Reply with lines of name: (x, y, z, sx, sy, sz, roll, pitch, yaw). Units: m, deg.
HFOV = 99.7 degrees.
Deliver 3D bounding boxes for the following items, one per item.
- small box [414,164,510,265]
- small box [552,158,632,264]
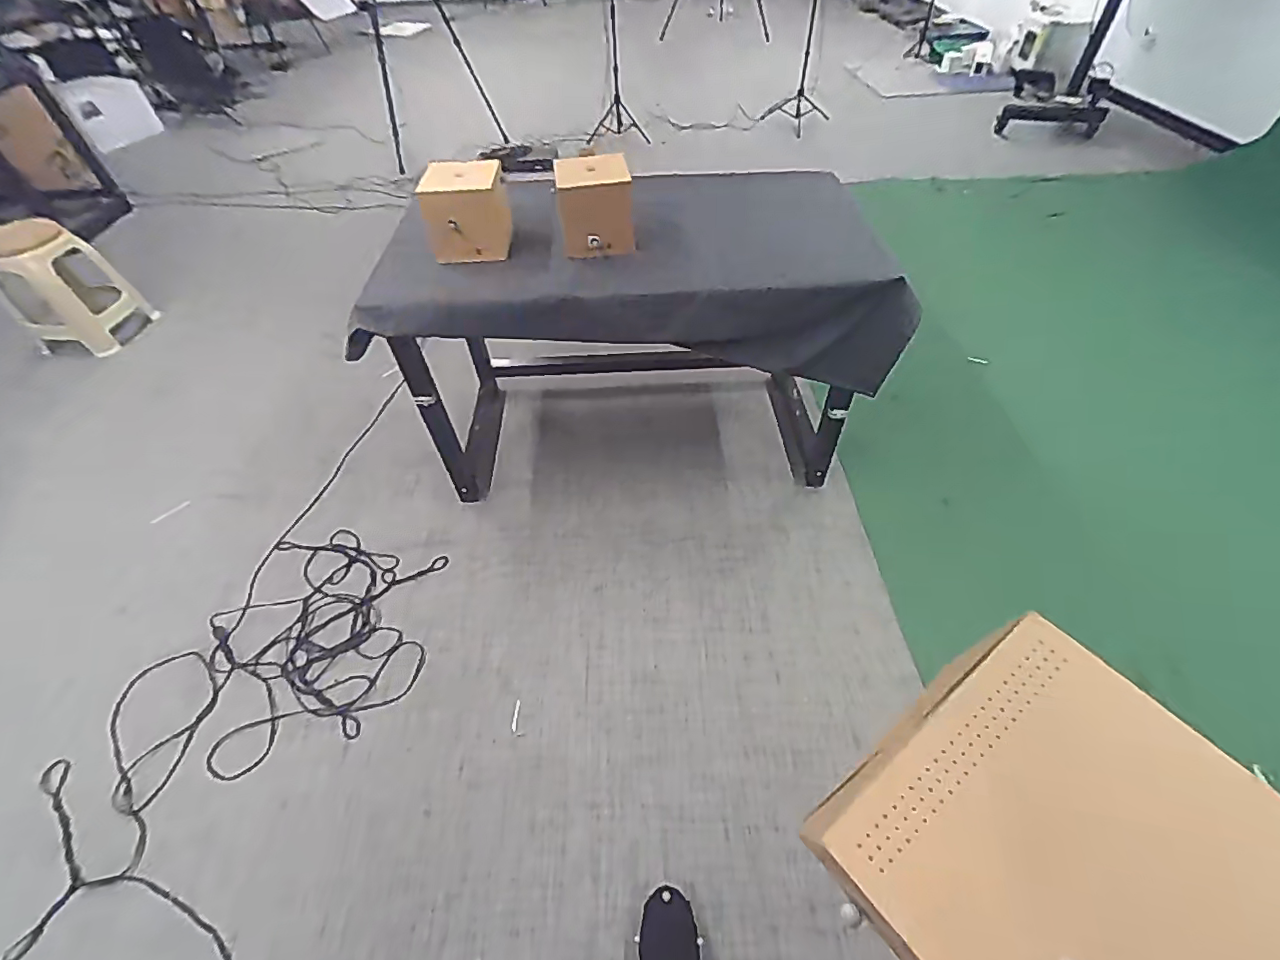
small box: (-0.413, -0.625, 1.287, 0.168, 0.176, 0.179, -4, 48, -1)
small box: (-0.113, -0.640, 1.289, 0.168, 0.176, 0.179, -9, 50, -4)
